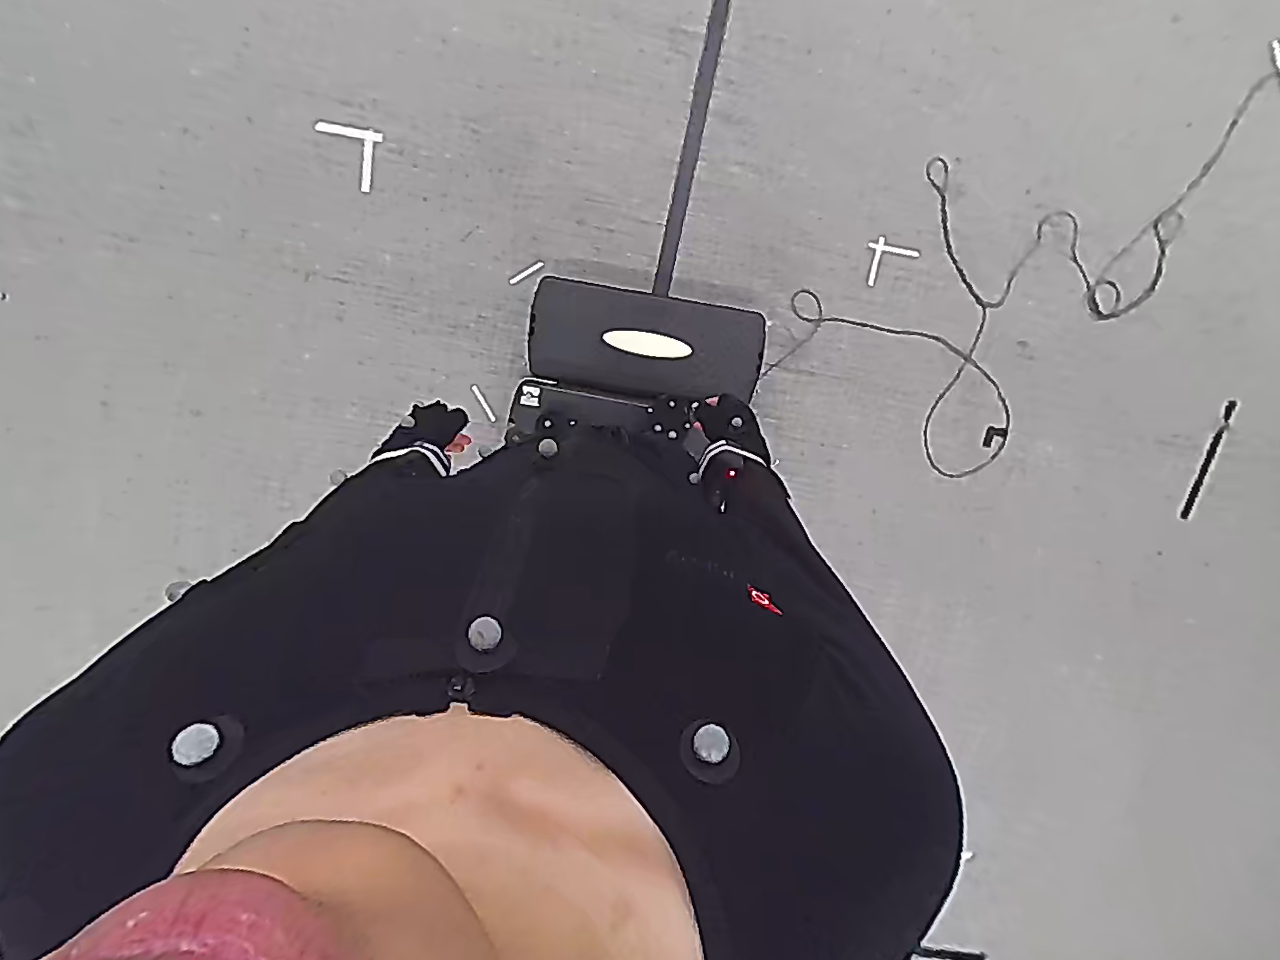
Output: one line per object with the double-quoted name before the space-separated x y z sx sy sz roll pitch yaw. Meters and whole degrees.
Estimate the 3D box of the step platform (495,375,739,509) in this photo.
"step platform" -0.063 -0.109 1.560 0.684 0.204 0.286 9 100 -3
